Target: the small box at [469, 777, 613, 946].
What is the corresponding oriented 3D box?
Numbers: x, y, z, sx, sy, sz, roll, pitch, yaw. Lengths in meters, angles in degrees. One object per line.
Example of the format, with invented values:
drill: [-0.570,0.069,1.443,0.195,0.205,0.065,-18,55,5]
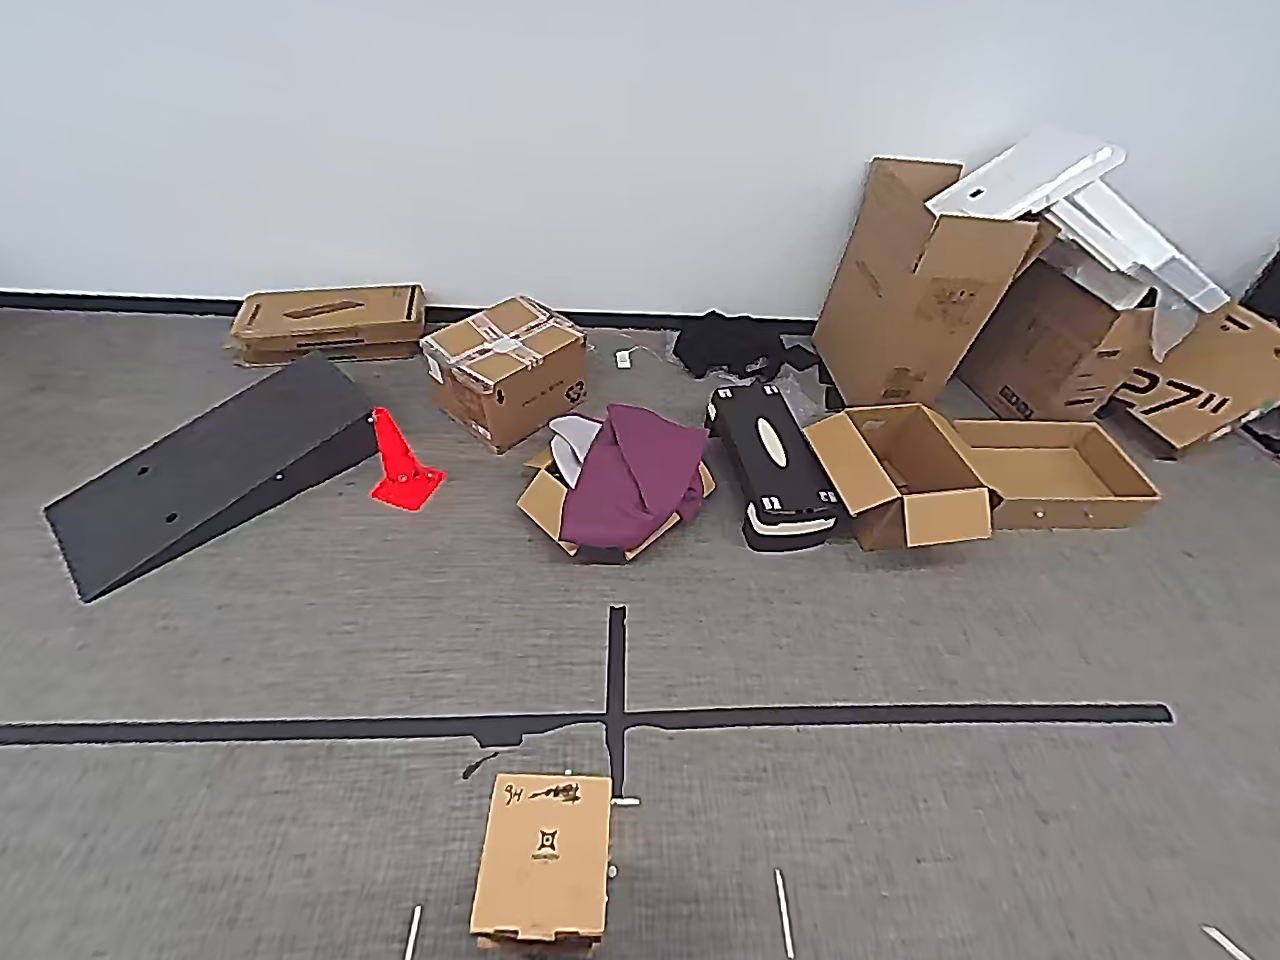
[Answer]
small box: [-0.125,0.537,0.758,0.168,0.176,0.179,3,48,-1]
